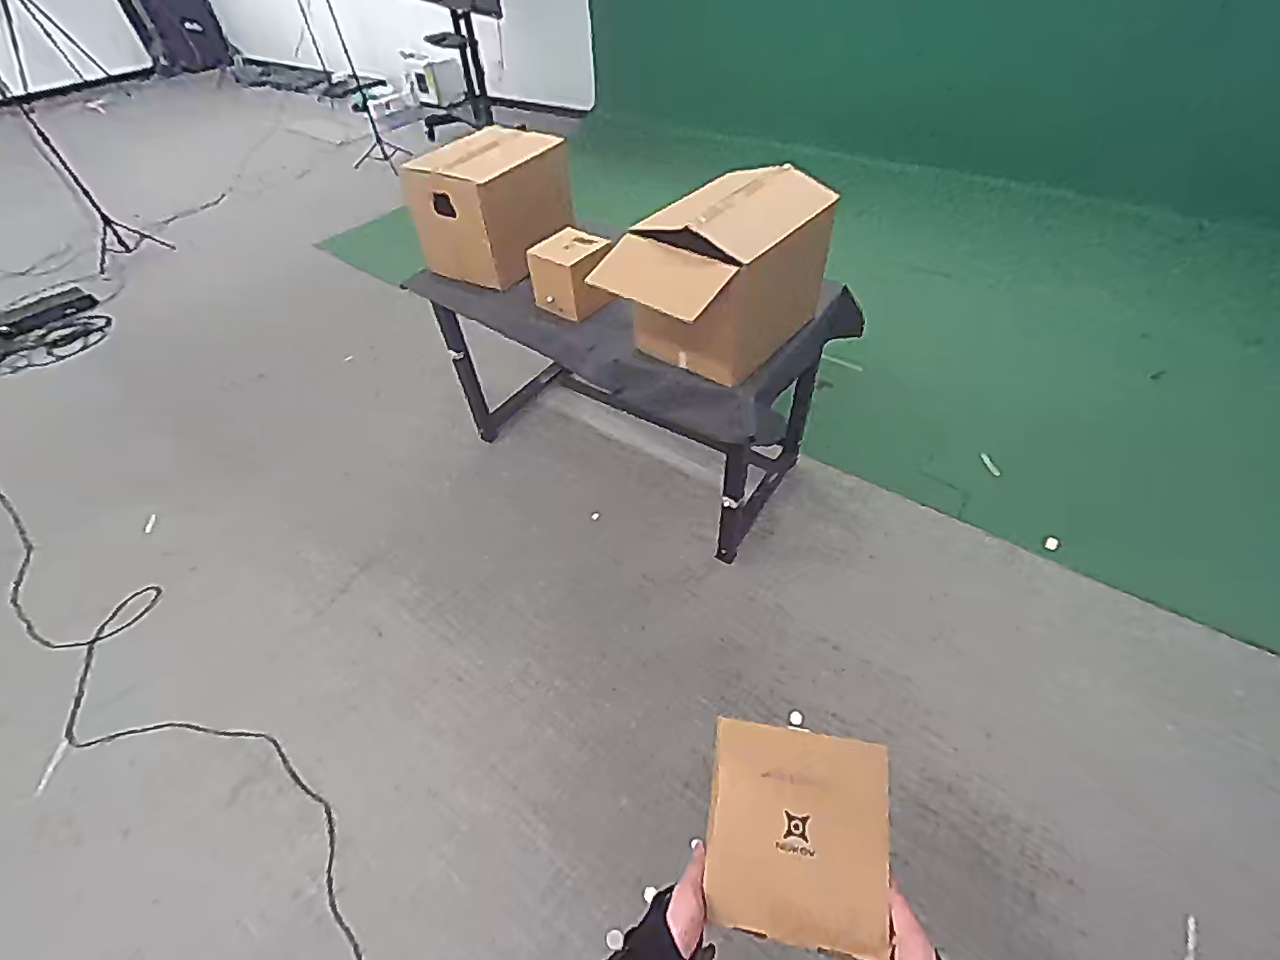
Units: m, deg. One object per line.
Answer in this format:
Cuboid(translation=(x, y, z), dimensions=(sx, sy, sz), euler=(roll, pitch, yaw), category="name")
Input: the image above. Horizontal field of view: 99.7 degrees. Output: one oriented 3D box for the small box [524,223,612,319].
Cuboid(translation=(-0.190, -0.576, 1.492), dimensions=(0.168, 0.176, 0.179), euler=(29, 57, 26), category="small box")
